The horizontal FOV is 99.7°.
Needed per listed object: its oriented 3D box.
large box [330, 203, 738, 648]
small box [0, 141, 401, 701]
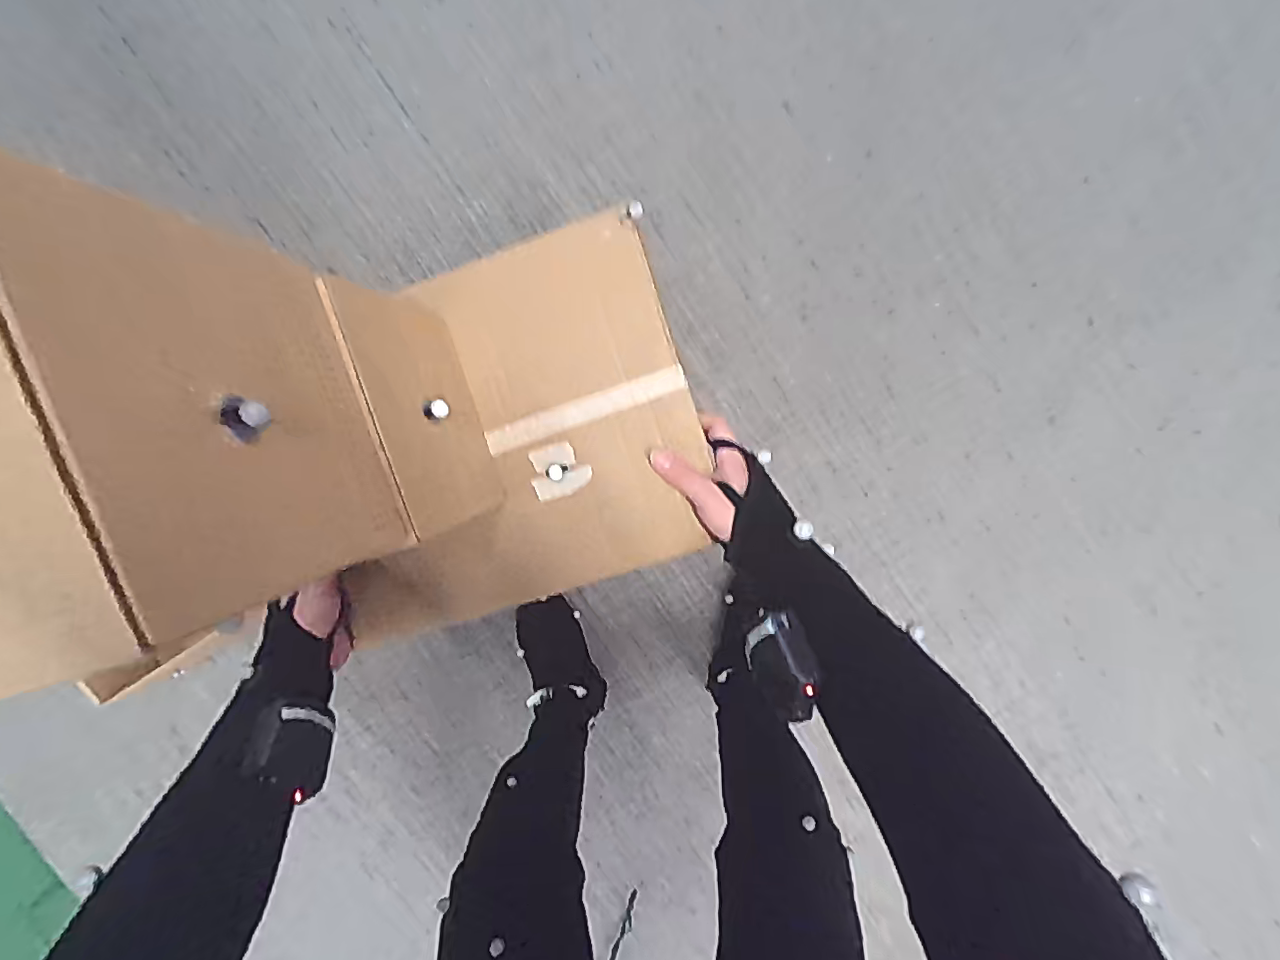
[{"bbox_3d":[-0.133,-0.053,0.653,0.408,0.320,0.320,-19,96,6],"label":"large box"},{"bbox_3d":[-0.250,-0.013,0.255,0.168,0.176,0.179,-17,96,7],"label":"small box"}]
